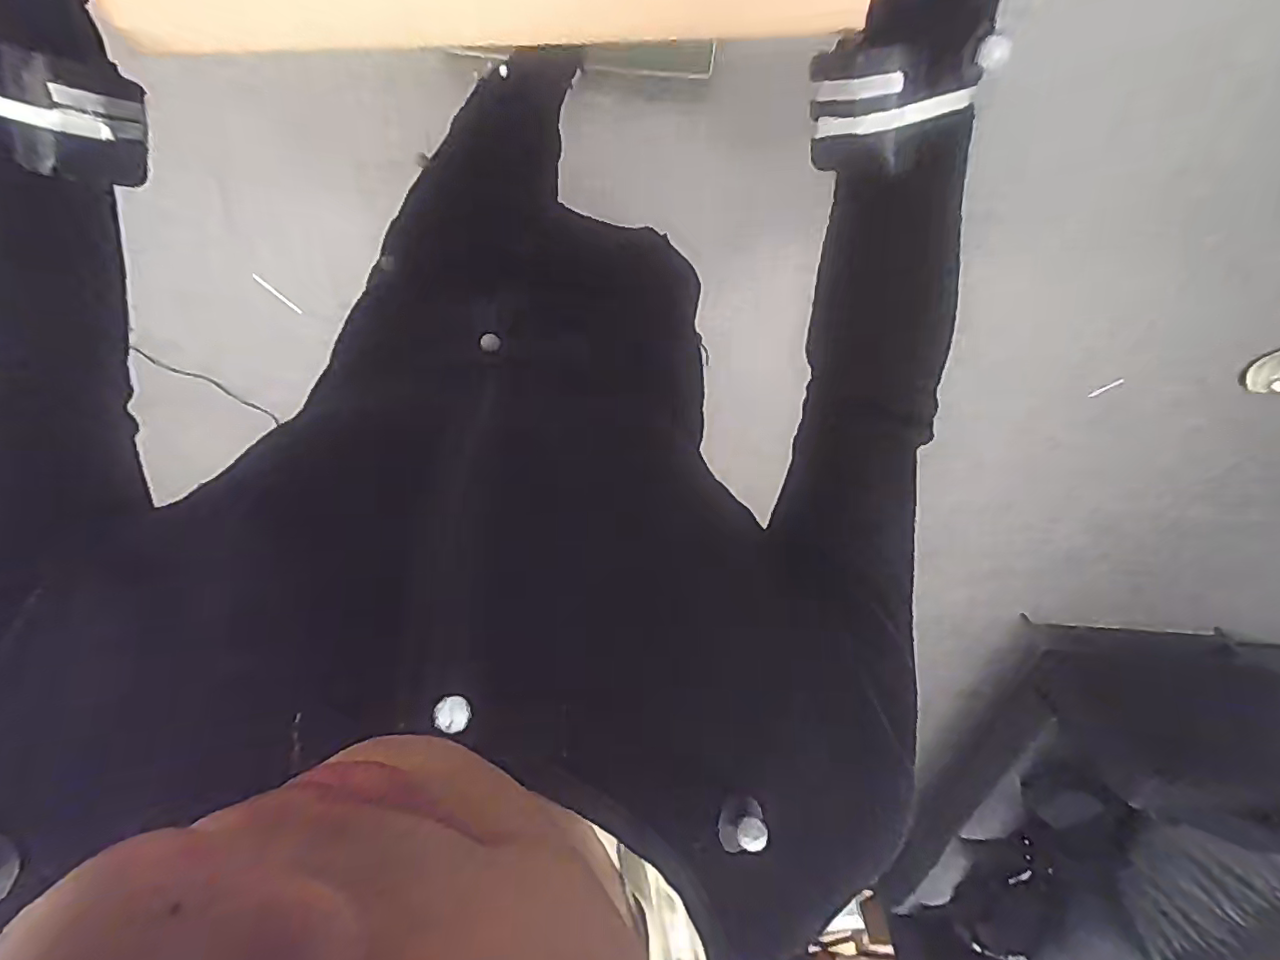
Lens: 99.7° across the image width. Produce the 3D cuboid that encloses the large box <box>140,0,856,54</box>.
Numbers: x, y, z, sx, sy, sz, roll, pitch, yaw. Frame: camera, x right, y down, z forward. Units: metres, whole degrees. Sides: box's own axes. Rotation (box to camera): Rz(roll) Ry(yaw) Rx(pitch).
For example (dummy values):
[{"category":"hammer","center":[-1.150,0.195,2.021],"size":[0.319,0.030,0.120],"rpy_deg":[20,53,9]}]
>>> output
[{"category":"large box","center":[-0.080,-0.464,0.301],"size":[0.408,0.320,0.320],"rpy_deg":[1,136,3]}]
